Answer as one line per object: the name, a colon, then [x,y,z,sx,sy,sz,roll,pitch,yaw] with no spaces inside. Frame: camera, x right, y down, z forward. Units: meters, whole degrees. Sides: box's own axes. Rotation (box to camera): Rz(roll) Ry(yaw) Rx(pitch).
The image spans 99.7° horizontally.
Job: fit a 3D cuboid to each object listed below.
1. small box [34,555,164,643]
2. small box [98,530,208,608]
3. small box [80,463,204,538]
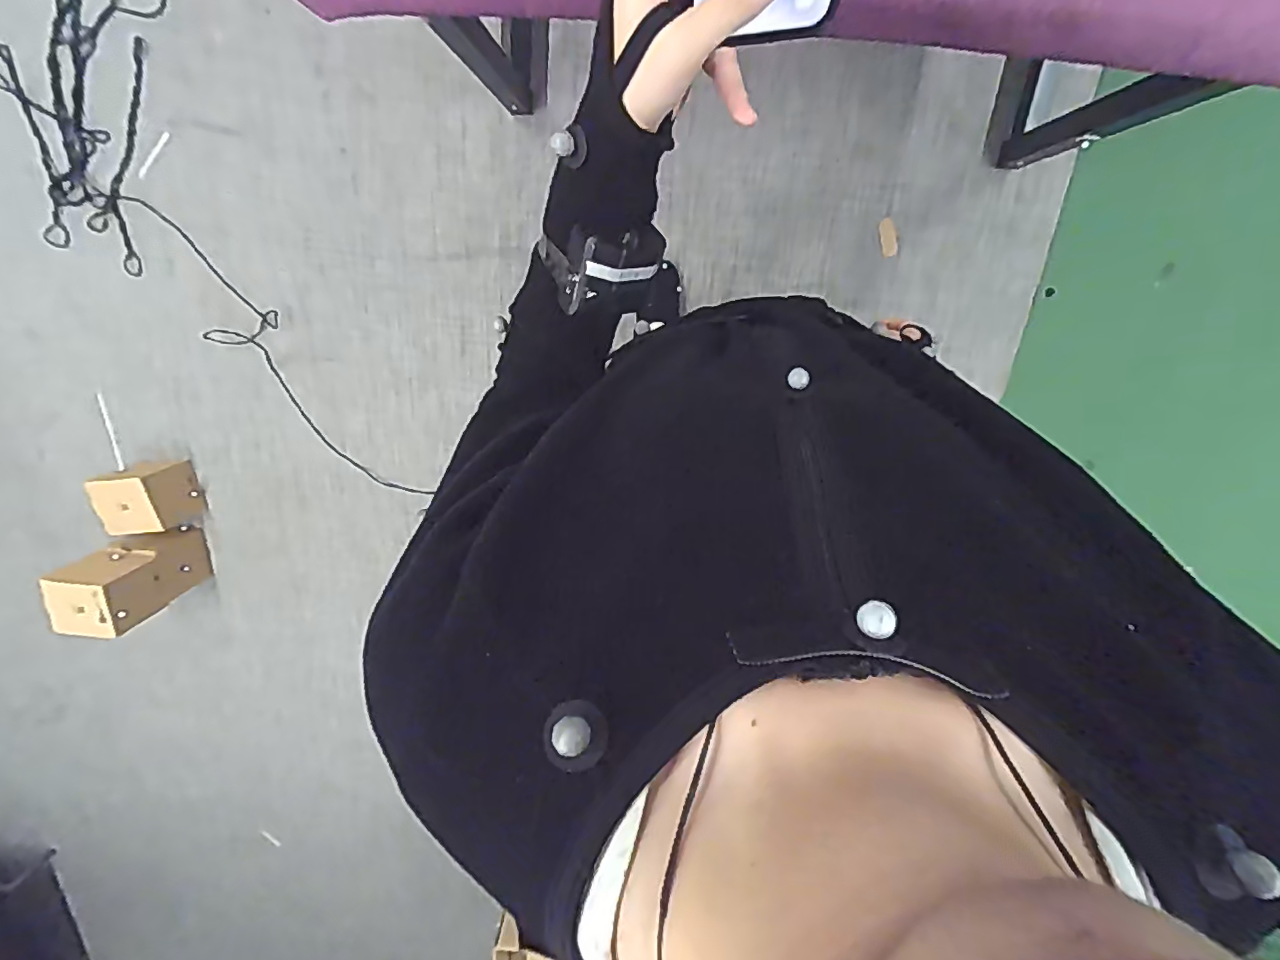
small box: [-1.476,0.321,1.487,0.179,0.176,0.168,7,110,2]
small box: [-1.466,0.261,1.639,0.168,0.176,0.179,5,110,2]
small box: [-1.430,0.056,1.566,0.179,0.176,0.168,-4,110,5]
